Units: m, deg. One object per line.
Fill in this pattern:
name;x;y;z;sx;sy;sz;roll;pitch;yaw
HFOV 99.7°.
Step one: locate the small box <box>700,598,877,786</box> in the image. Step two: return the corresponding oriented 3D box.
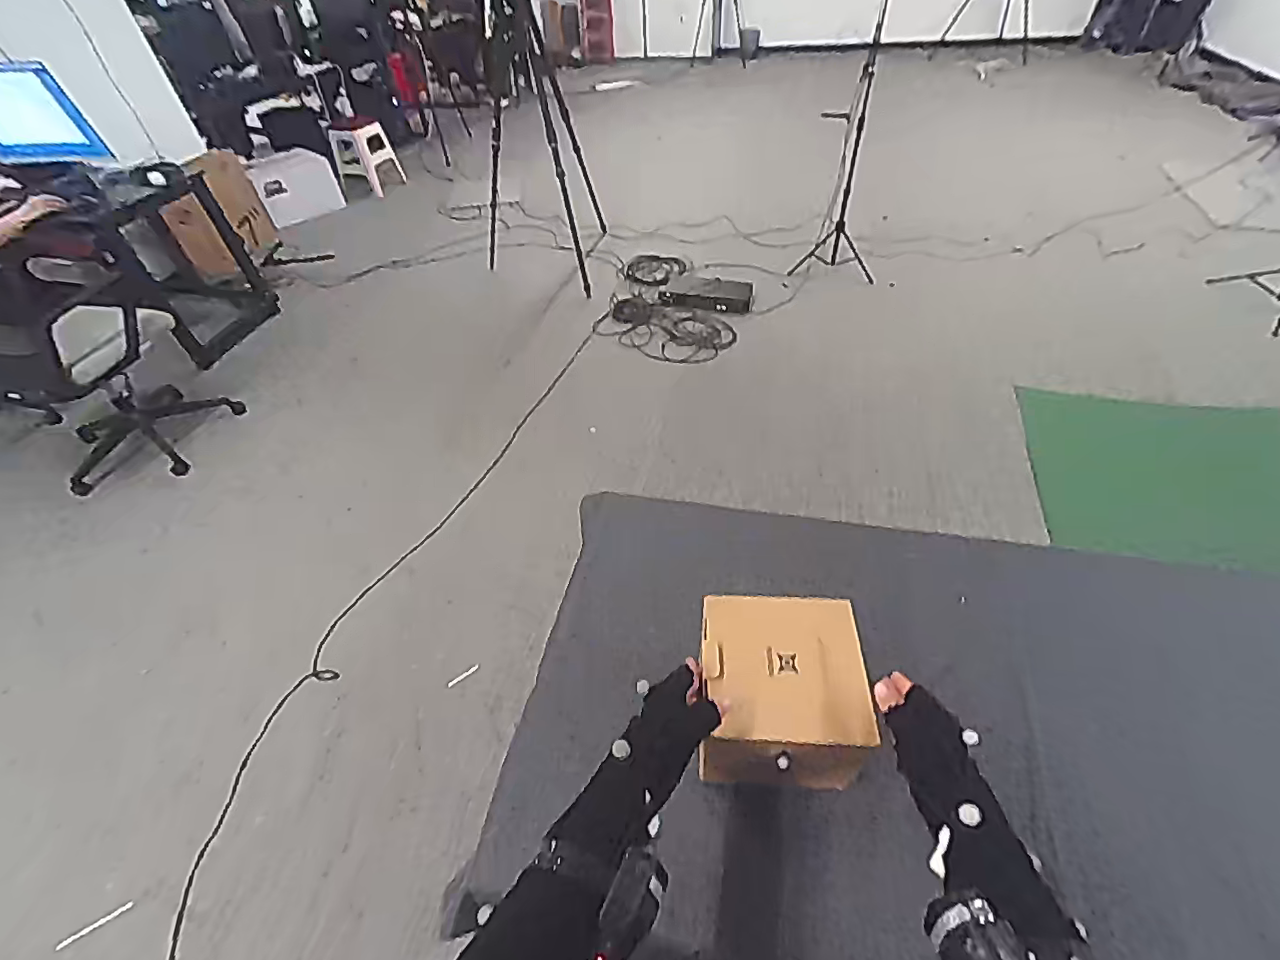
small box;0.162;0.260;0.659;0.179;0.176;0.168;1;48;4
